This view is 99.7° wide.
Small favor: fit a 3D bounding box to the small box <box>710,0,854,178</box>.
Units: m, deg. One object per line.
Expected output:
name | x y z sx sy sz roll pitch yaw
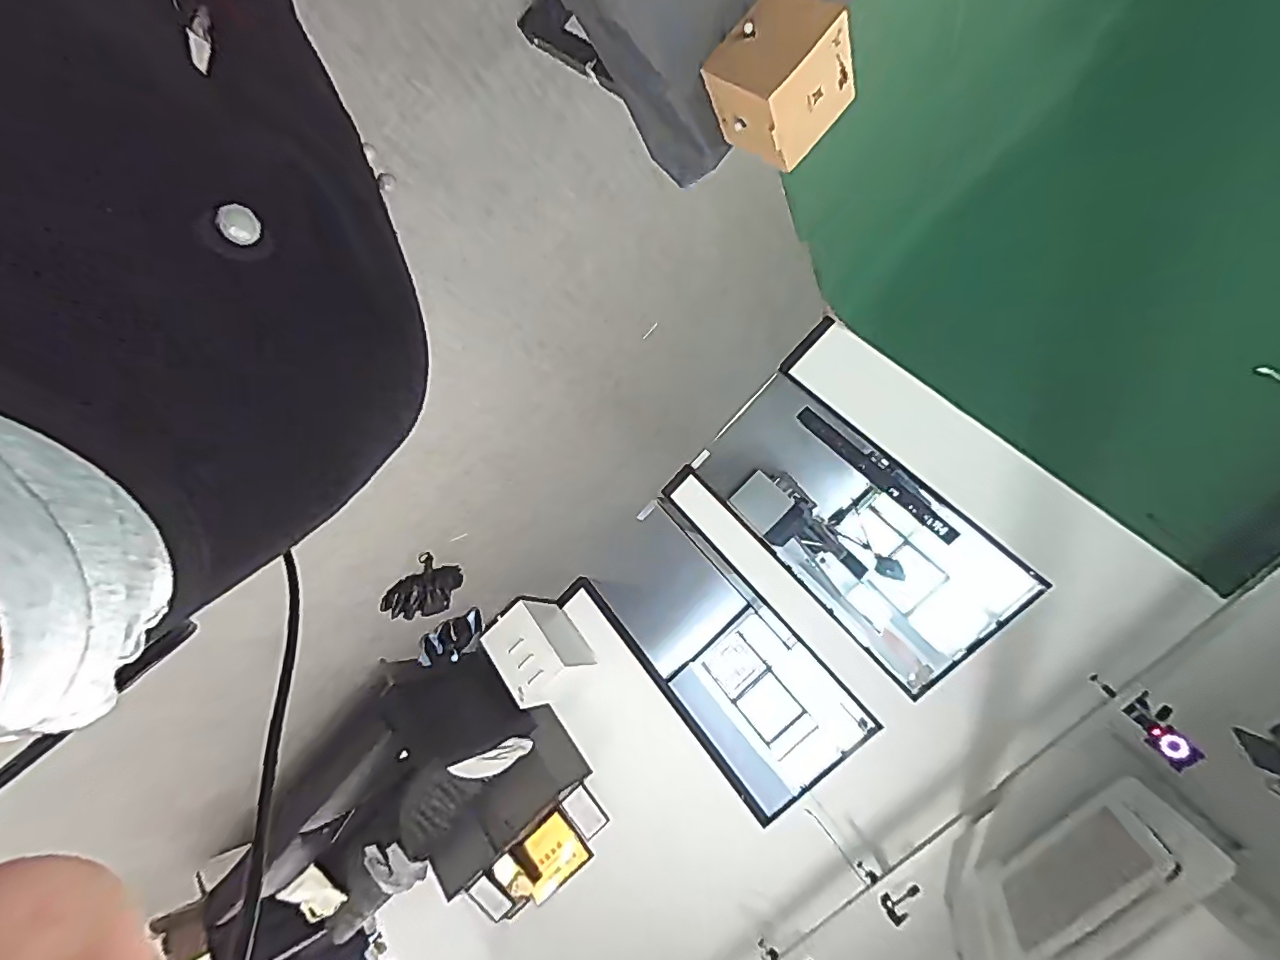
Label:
small box | 0.243 -0.686 0.948 0.179 0.176 0.168 -47 152 8
